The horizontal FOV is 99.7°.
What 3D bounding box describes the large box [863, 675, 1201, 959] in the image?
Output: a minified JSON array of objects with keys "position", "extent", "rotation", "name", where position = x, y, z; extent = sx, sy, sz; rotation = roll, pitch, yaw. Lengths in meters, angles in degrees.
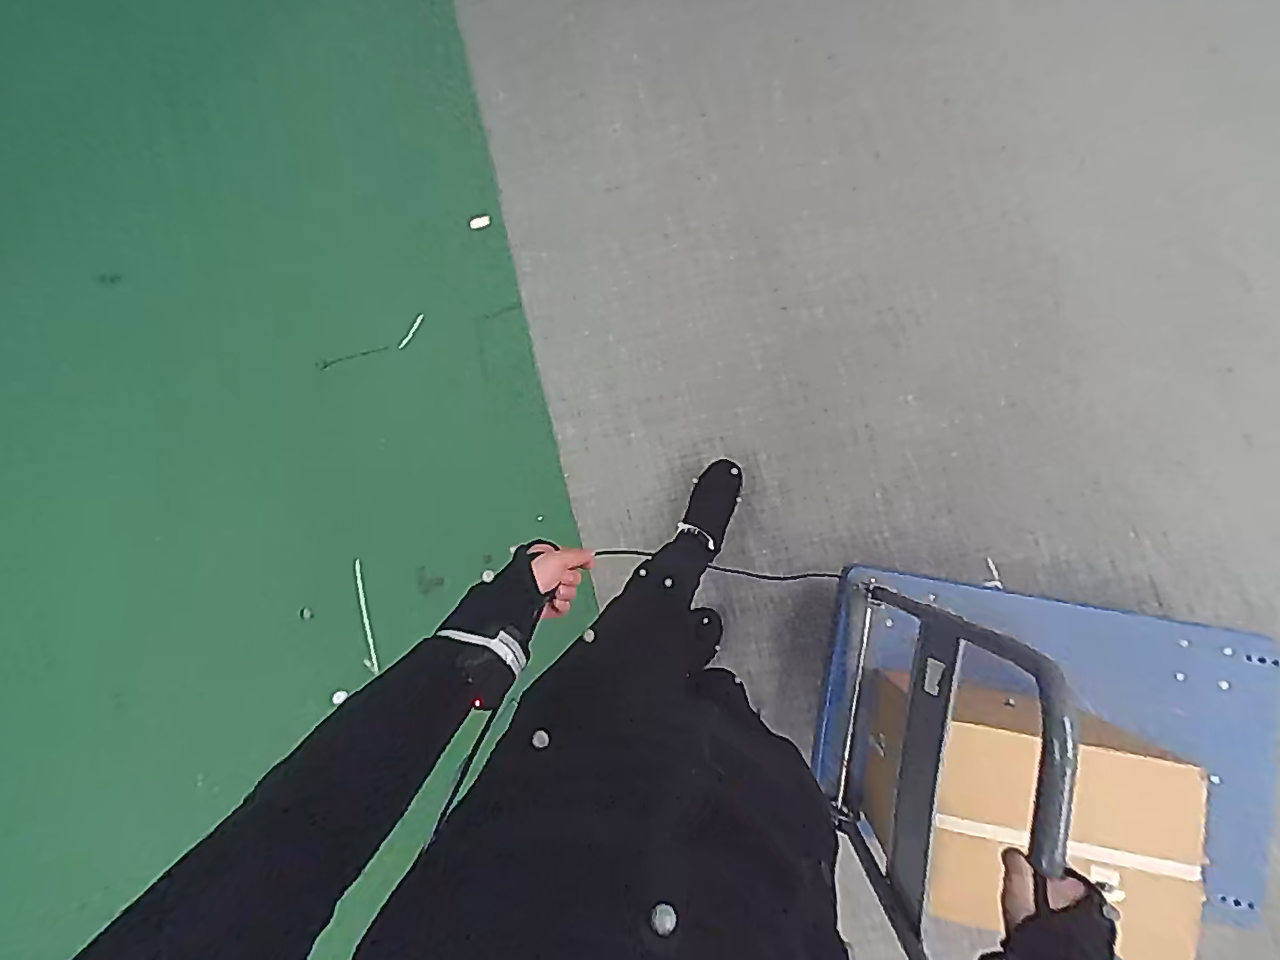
[{"position":[0.675,0.585,1.004],"extent":[0.408,0.320,0.320],"rotation":[9,87,7],"name":"large box"}]
